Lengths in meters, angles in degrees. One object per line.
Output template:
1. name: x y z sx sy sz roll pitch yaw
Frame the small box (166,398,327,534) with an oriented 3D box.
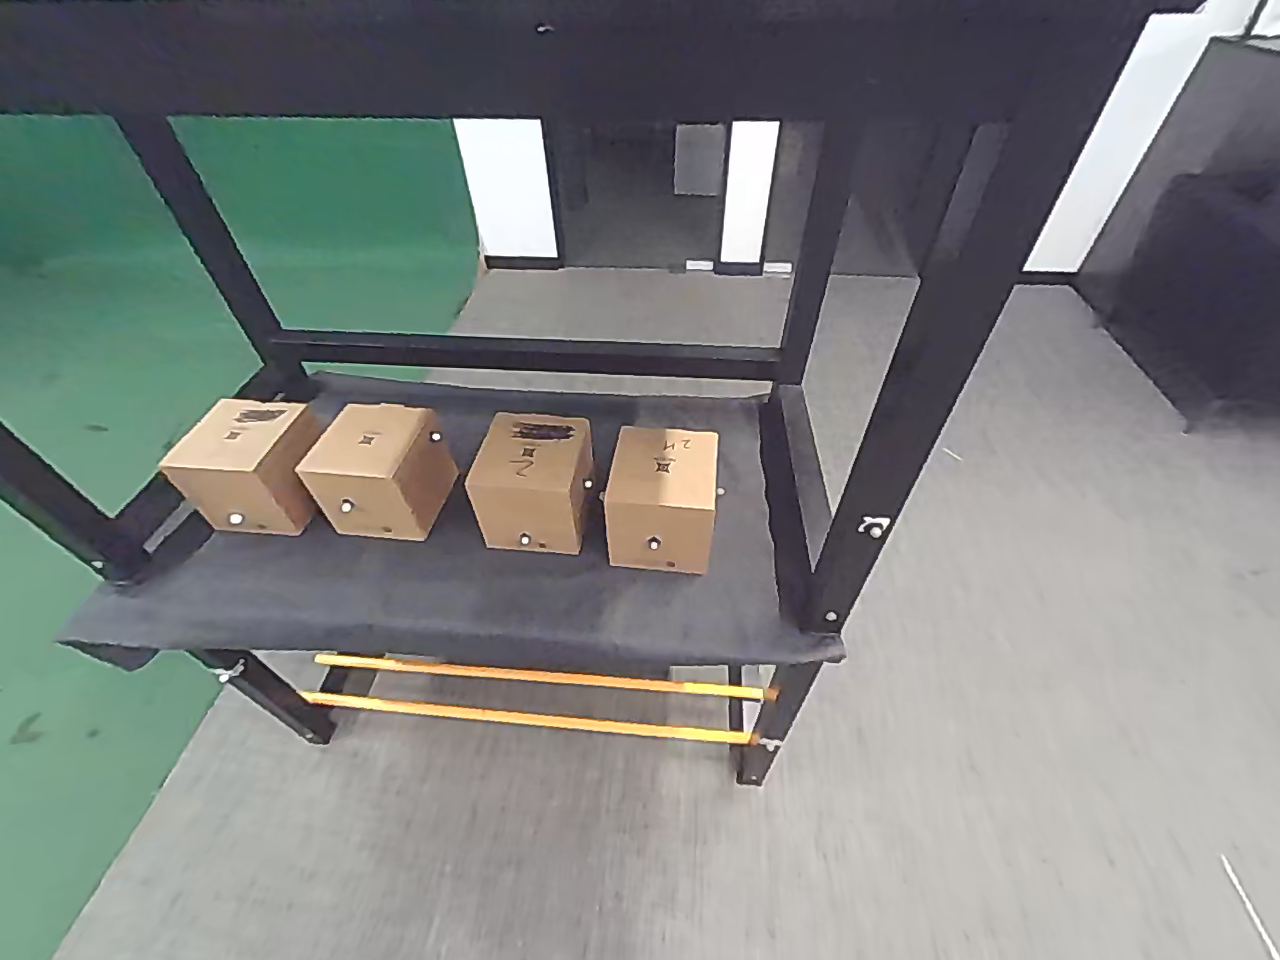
1. small box: -0.681 -0.026 0.983 0.168 0.176 0.179 4 47 4

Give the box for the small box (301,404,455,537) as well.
1. small box: -0.454 -0.015 0.974 0.168 0.176 0.179 5 46 5

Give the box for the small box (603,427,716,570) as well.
1. small box: 0.037 0.034 0.917 0.168 0.176 0.179 5 45 5
